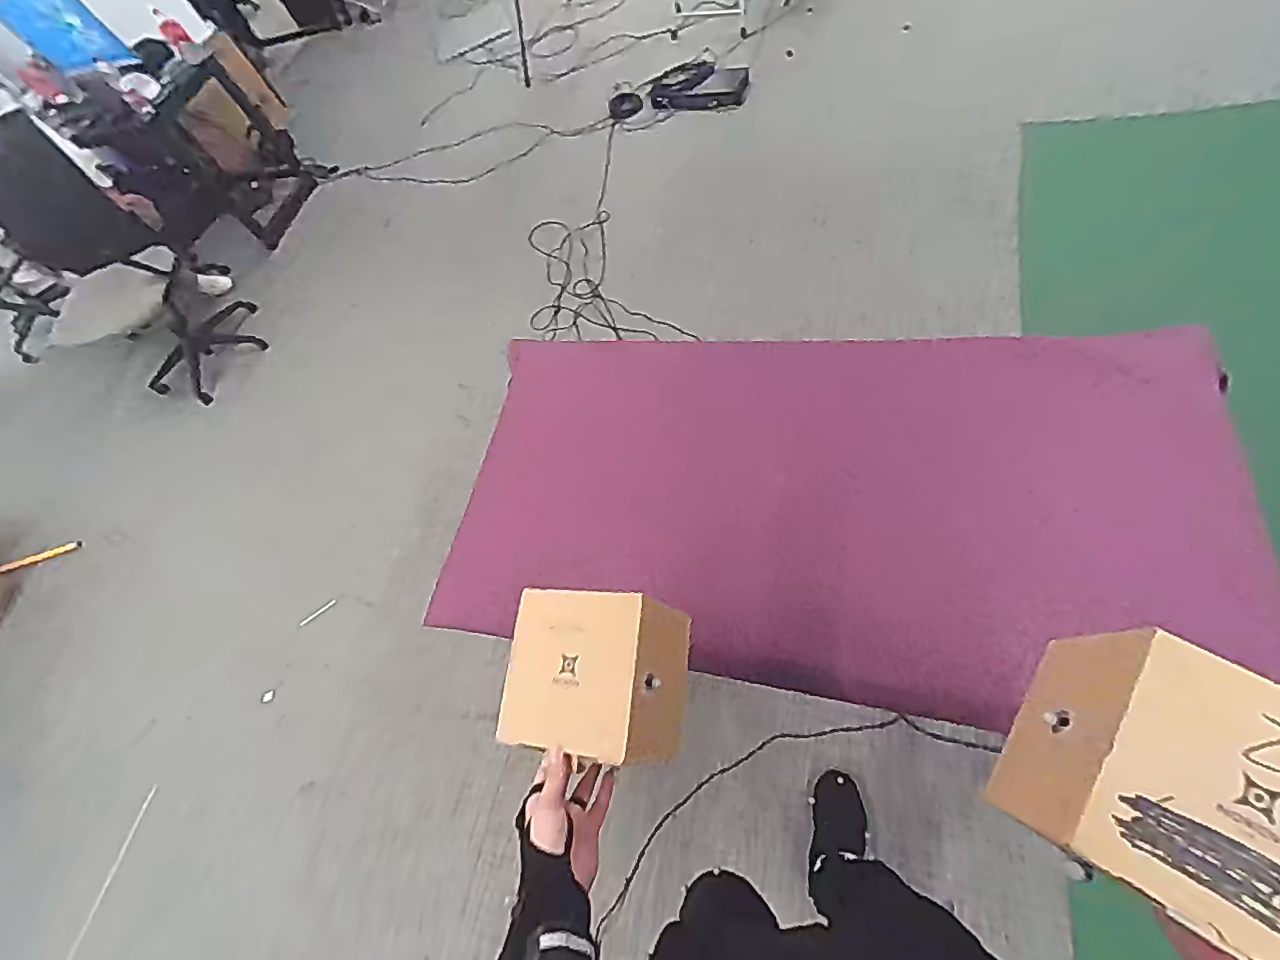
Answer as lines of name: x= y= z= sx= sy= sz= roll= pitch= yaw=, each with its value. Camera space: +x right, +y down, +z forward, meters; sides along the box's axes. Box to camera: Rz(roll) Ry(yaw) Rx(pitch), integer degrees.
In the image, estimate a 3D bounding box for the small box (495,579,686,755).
small box: x=-0.050 y=0.230 z=0.679 sx=0.168 sy=0.176 sz=0.179 roll=-2 pitch=68 yaw=25
